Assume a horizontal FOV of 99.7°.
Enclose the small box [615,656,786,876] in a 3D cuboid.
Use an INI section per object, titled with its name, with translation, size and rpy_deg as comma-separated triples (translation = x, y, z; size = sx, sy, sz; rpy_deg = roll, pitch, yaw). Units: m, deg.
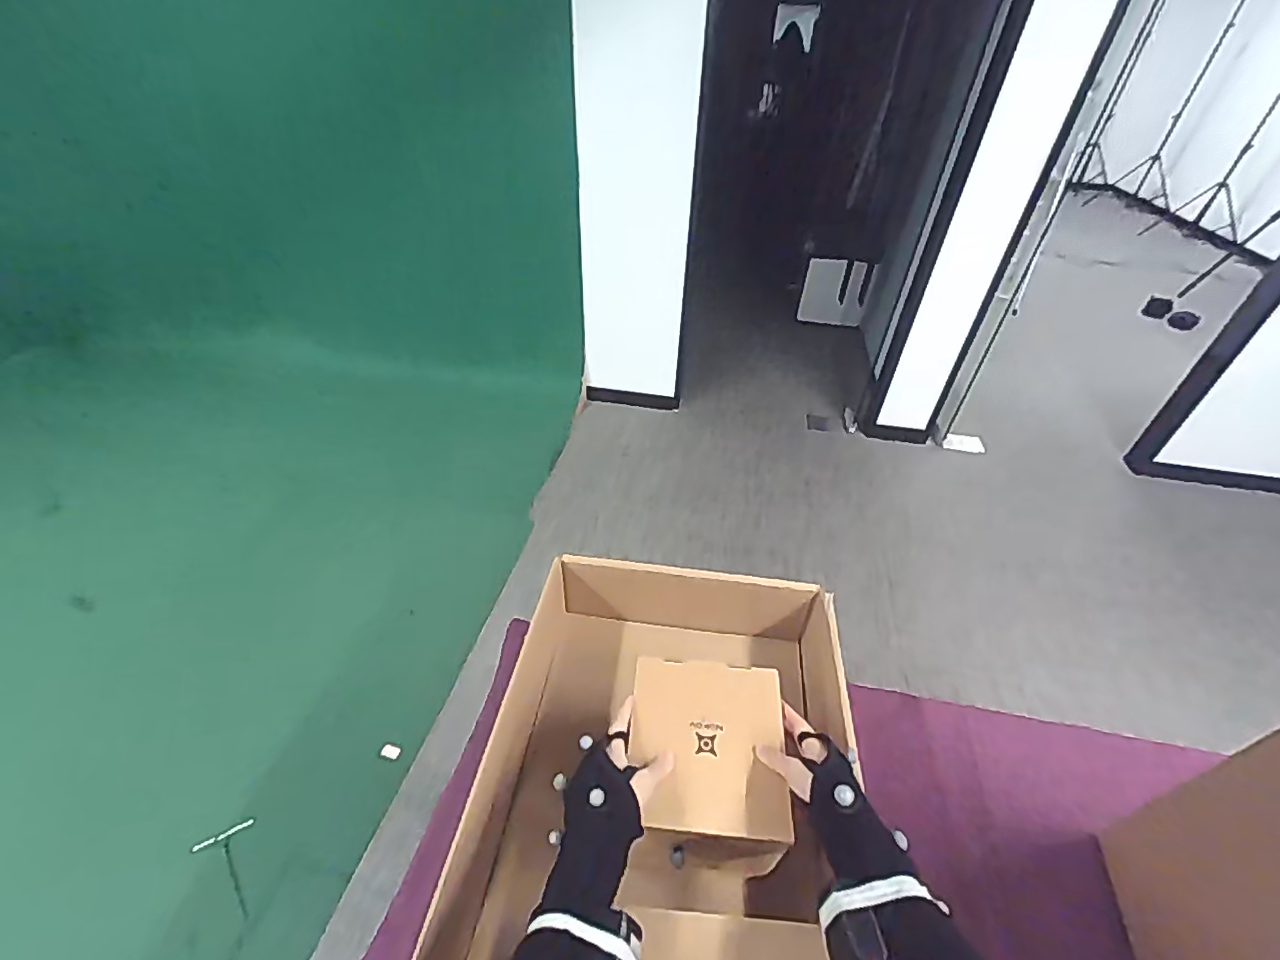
[small box]
translation = 0.067, 0.331, 0.624
size = 0.168, 0.176, 0.179
rpy_deg = 3, 42, 5
